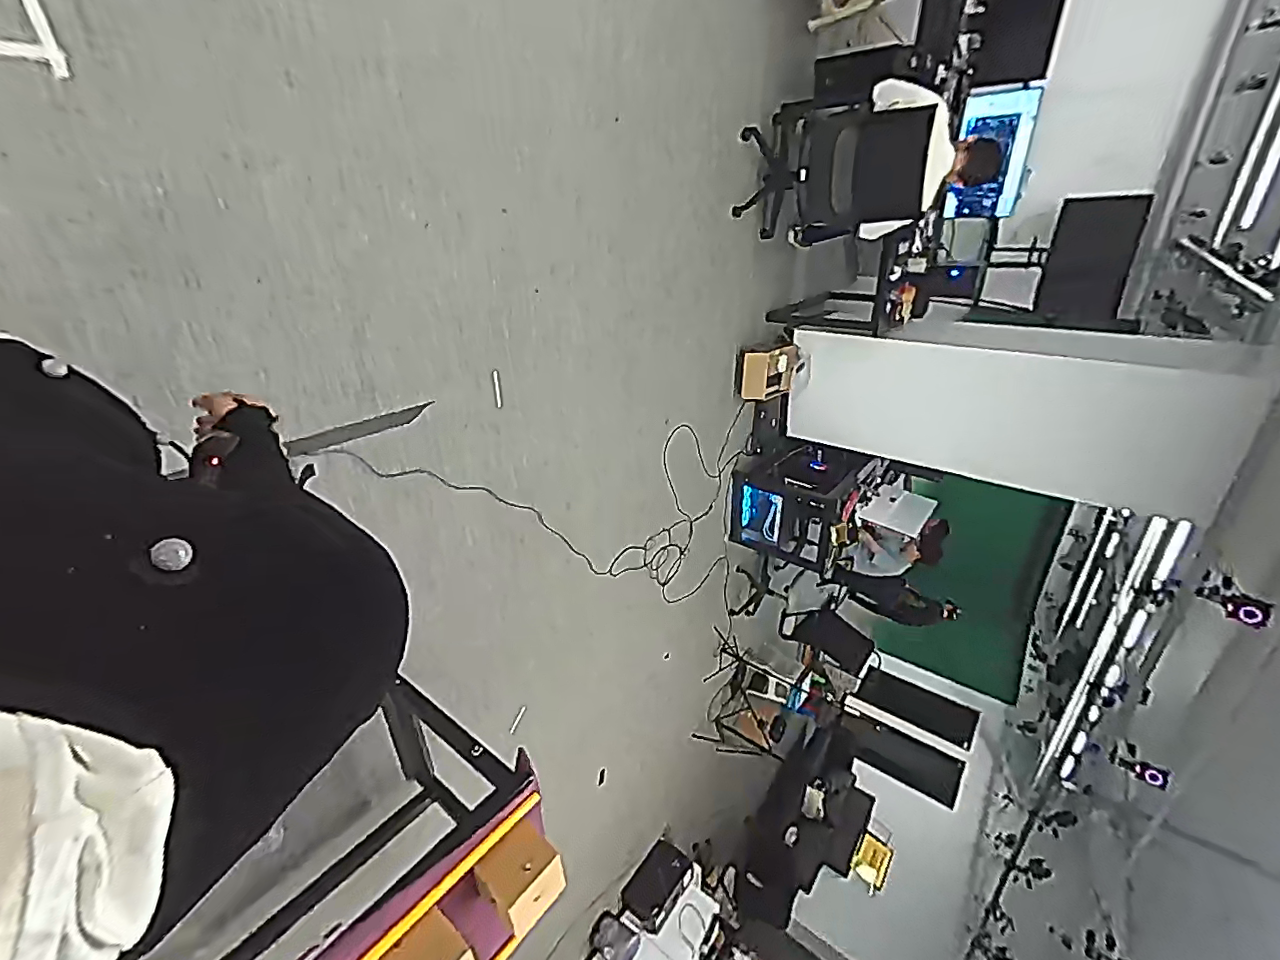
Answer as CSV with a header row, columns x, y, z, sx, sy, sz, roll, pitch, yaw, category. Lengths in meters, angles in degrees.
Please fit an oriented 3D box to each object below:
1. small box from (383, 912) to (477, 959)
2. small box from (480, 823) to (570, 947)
x,y,z,sx,sy,sz,roll,pitch,yaw,category
-0.493,1.187,1.280,0.168,0.176,0.179,-30,128,-44,small box
-0.318,1.099,1.479,0.179,0.176,0.168,-31,128,-43,small box
